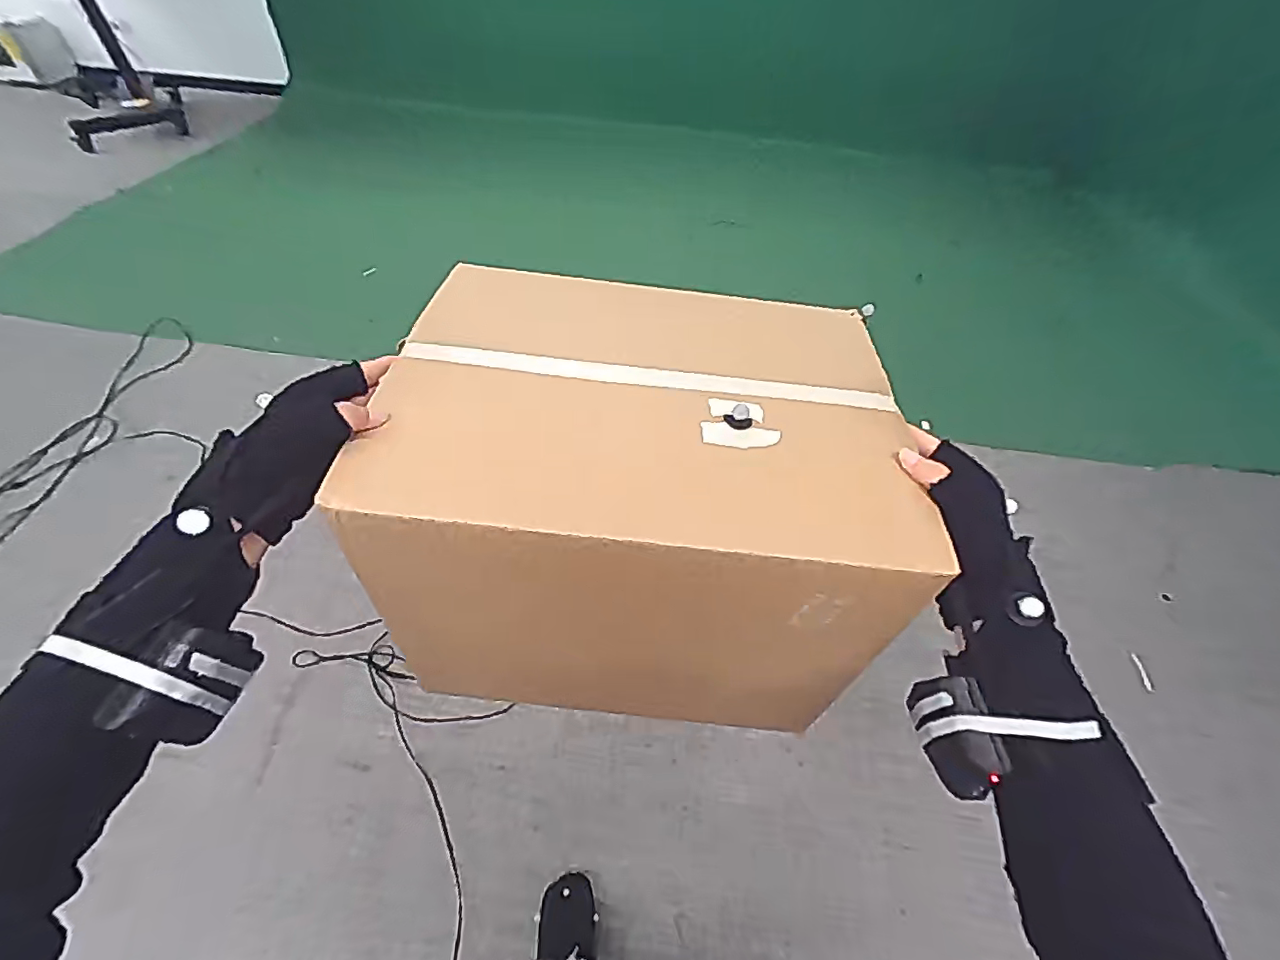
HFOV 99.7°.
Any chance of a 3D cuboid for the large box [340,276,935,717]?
[{"bbox_3d":[-0.005,0.025,0.561,0.408,0.320,0.320,7,48,-1],"label":"large box"}]
